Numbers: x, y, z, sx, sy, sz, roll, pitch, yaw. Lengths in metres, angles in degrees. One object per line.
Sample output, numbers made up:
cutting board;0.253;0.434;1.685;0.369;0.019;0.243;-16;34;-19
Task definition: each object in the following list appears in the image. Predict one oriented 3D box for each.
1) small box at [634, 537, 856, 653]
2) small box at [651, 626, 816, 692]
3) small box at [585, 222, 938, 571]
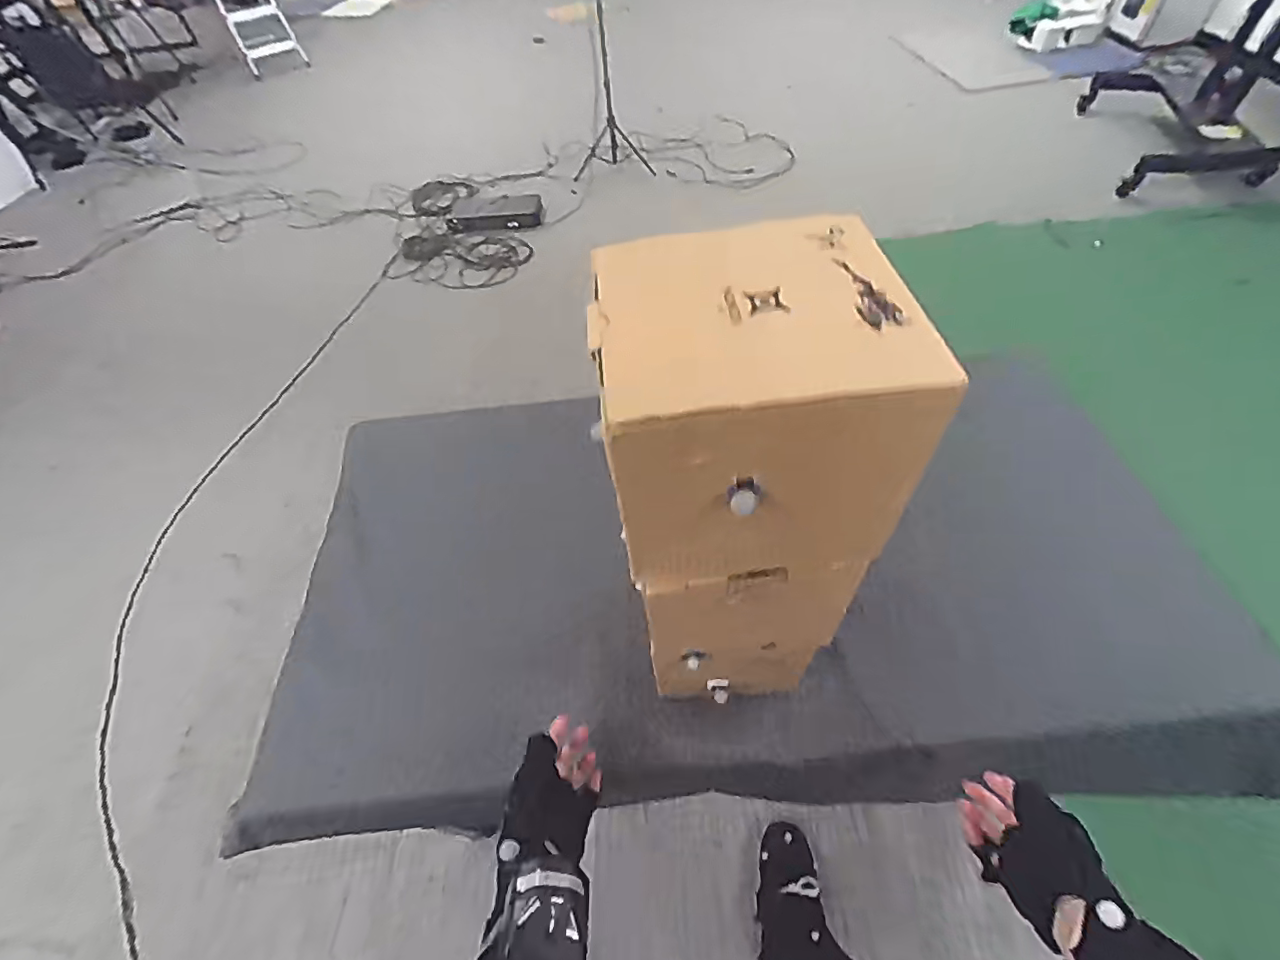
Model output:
small box;0.077;0.048;0.508;0.168;0.176;0.179;-11;53;-1
small box;0.096;0.136;0.646;0.168;0.176;0.179;-6;54;3
small box;0.065;-0.052;0.382;0.179;0.176;0.168;-9;50;-1
